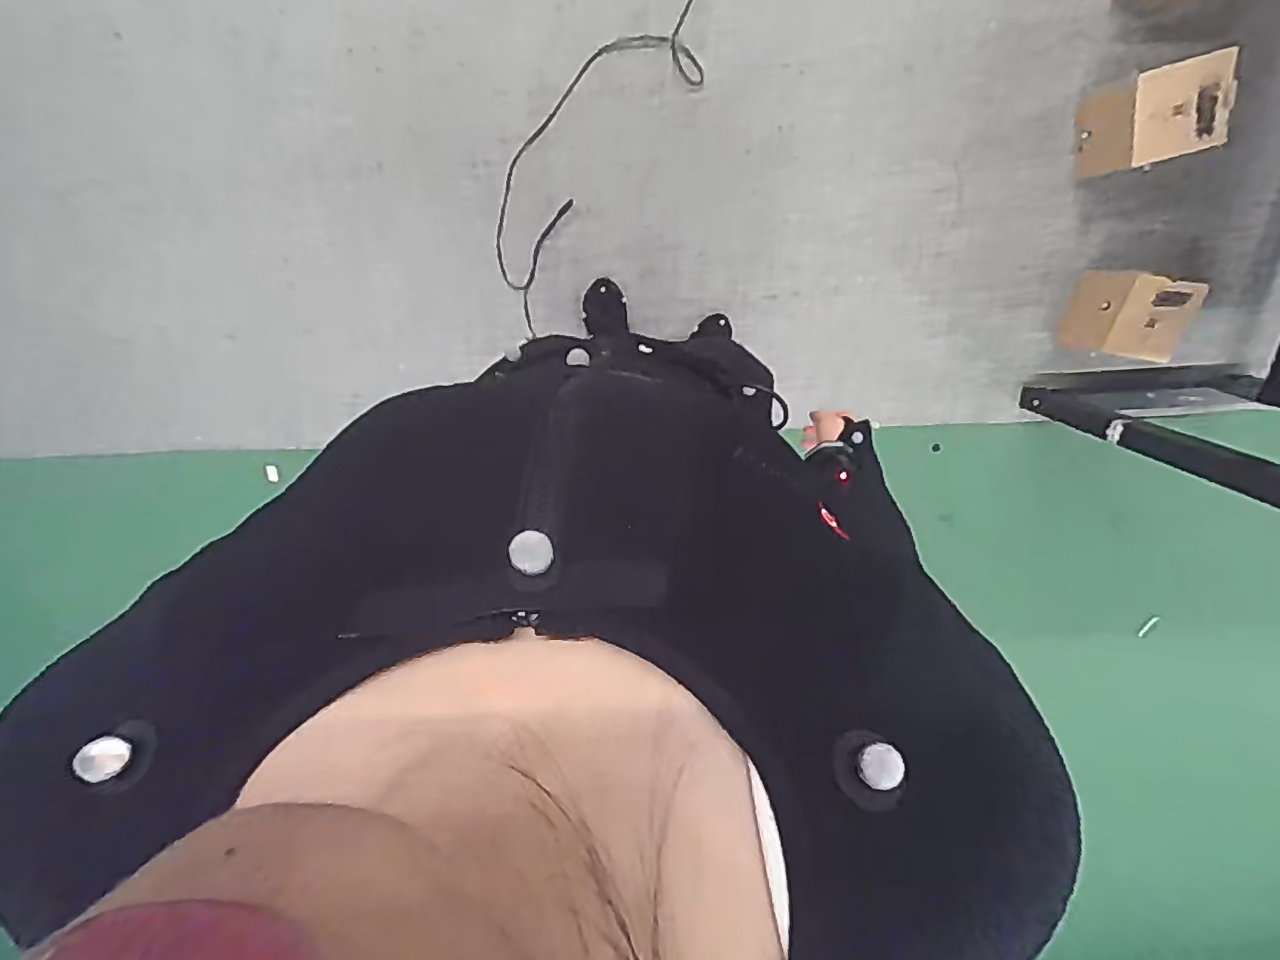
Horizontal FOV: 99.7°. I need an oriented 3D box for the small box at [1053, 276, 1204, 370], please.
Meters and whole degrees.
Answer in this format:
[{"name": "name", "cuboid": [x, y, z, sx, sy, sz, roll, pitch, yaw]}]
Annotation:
[{"name": "small box", "cuboid": [1.133, -0.375, 1.274, 0.168, 0.176, 0.179, 10, 113, -2]}]
